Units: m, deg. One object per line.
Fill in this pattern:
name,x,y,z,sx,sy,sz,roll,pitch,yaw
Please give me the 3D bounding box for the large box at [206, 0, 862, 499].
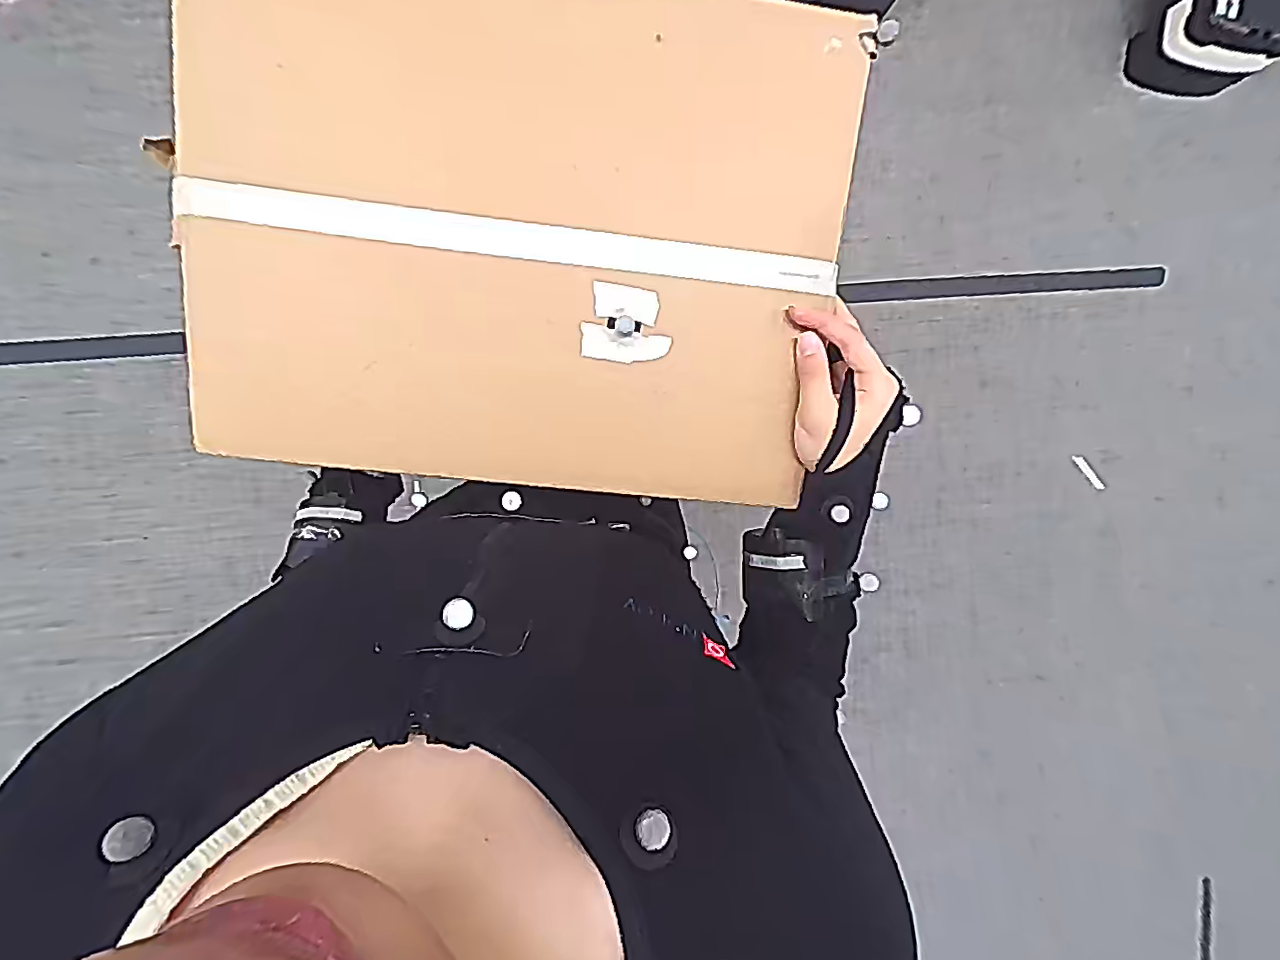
large box,-0.080,-0.174,0.498,0.408,0.320,0.320,5,101,-6
